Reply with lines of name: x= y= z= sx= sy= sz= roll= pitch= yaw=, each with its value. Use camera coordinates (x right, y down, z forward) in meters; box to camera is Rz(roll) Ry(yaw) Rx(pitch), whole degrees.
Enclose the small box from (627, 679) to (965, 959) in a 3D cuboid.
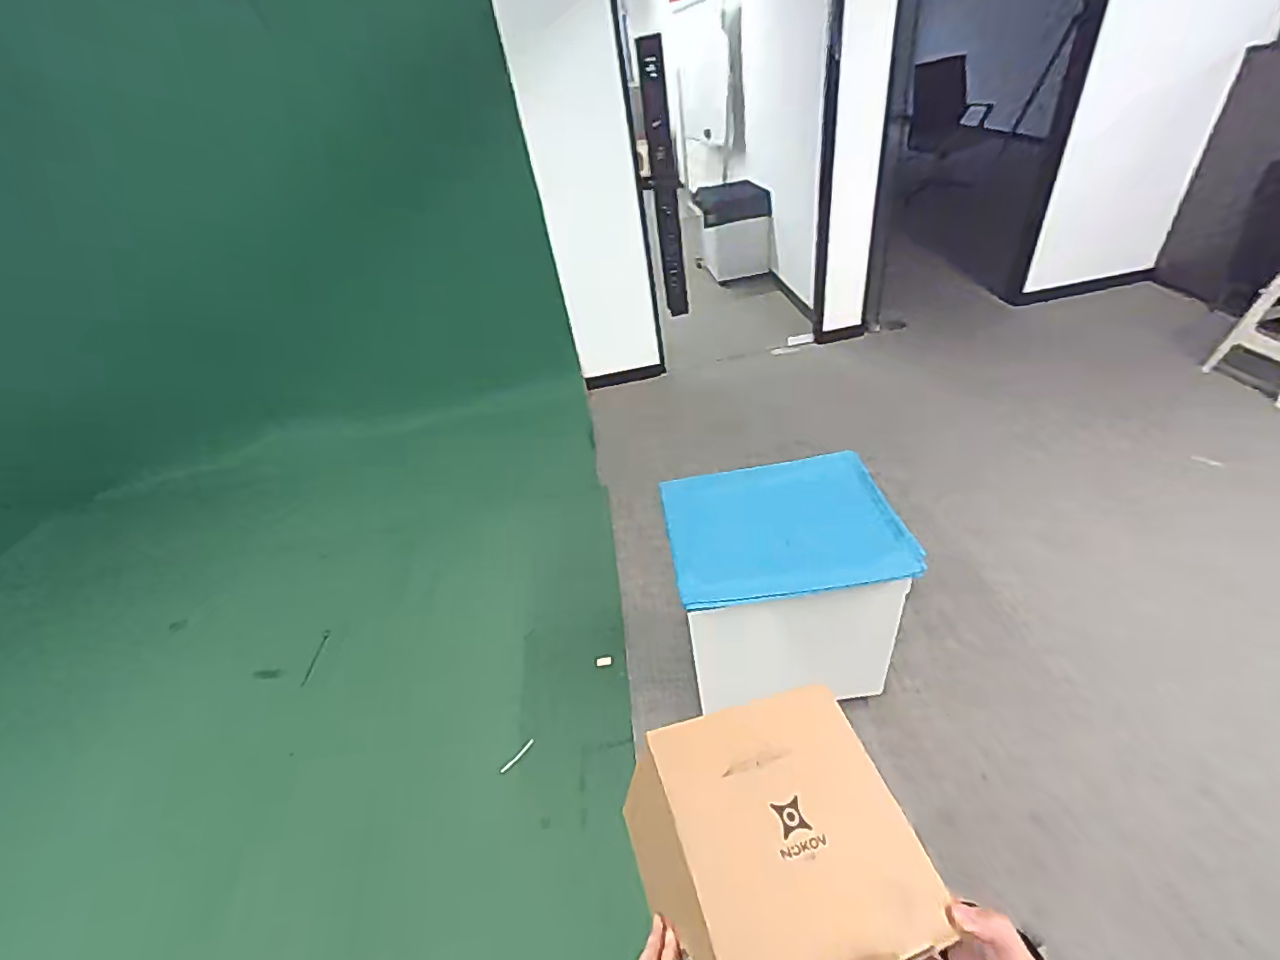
small box: x=0.094 y=0.290 z=0.423 sx=0.168 sy=0.176 sz=0.179 roll=-6 pitch=42 yaw=-17
